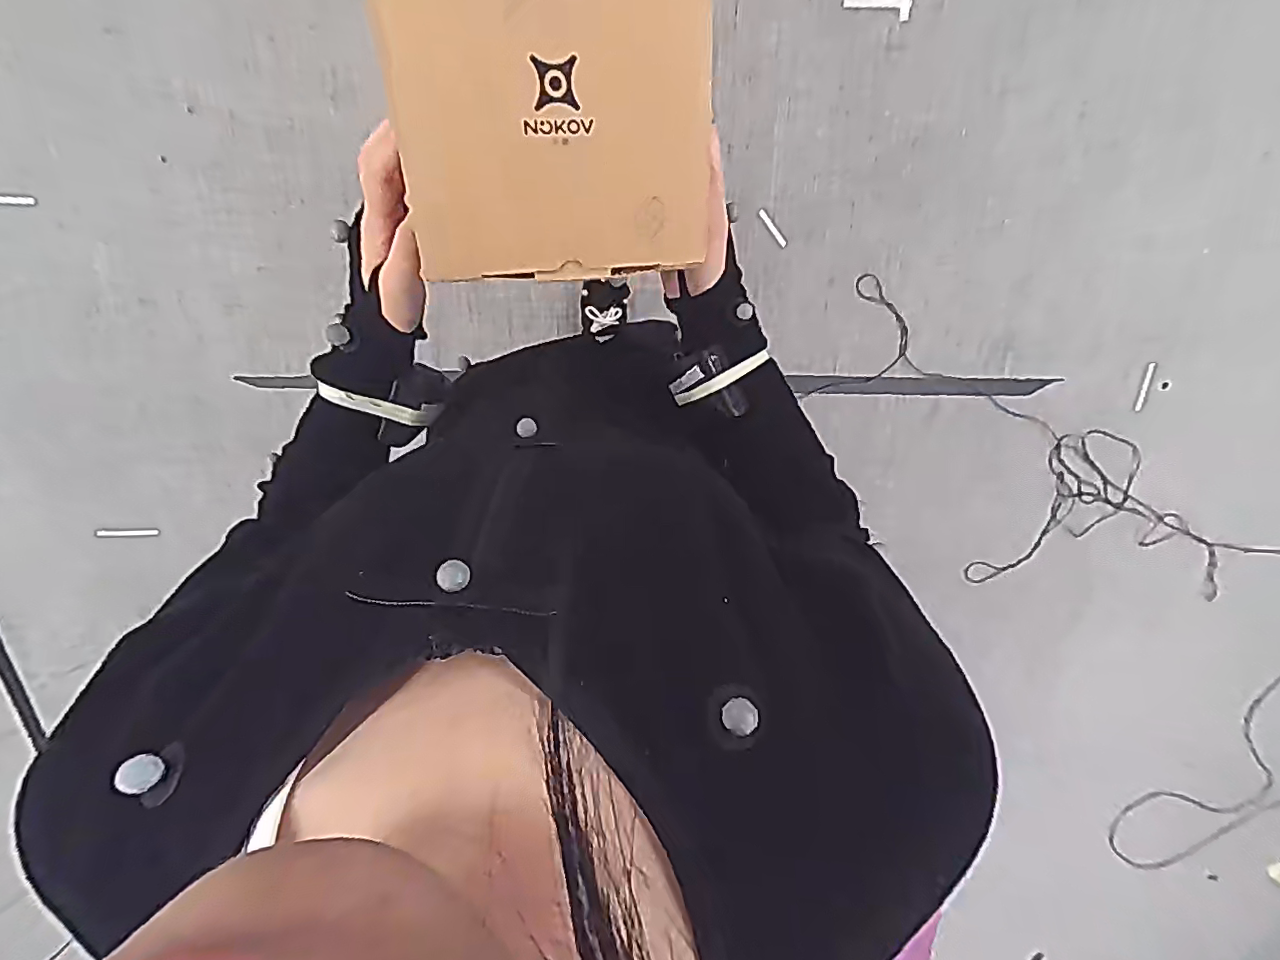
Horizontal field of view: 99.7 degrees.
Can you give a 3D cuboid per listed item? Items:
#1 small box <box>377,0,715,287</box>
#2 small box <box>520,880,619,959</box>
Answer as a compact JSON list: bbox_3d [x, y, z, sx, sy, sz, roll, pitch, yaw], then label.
[{"bbox_3d":[-0.056,-0.230,0.351,0.168,0.176,0.179,-8,116,-9],"label":"small box"},{"bbox_3d":[-0.124,0.847,0.959,0.168,0.176,0.179,-1,110,-5],"label":"small box"}]
